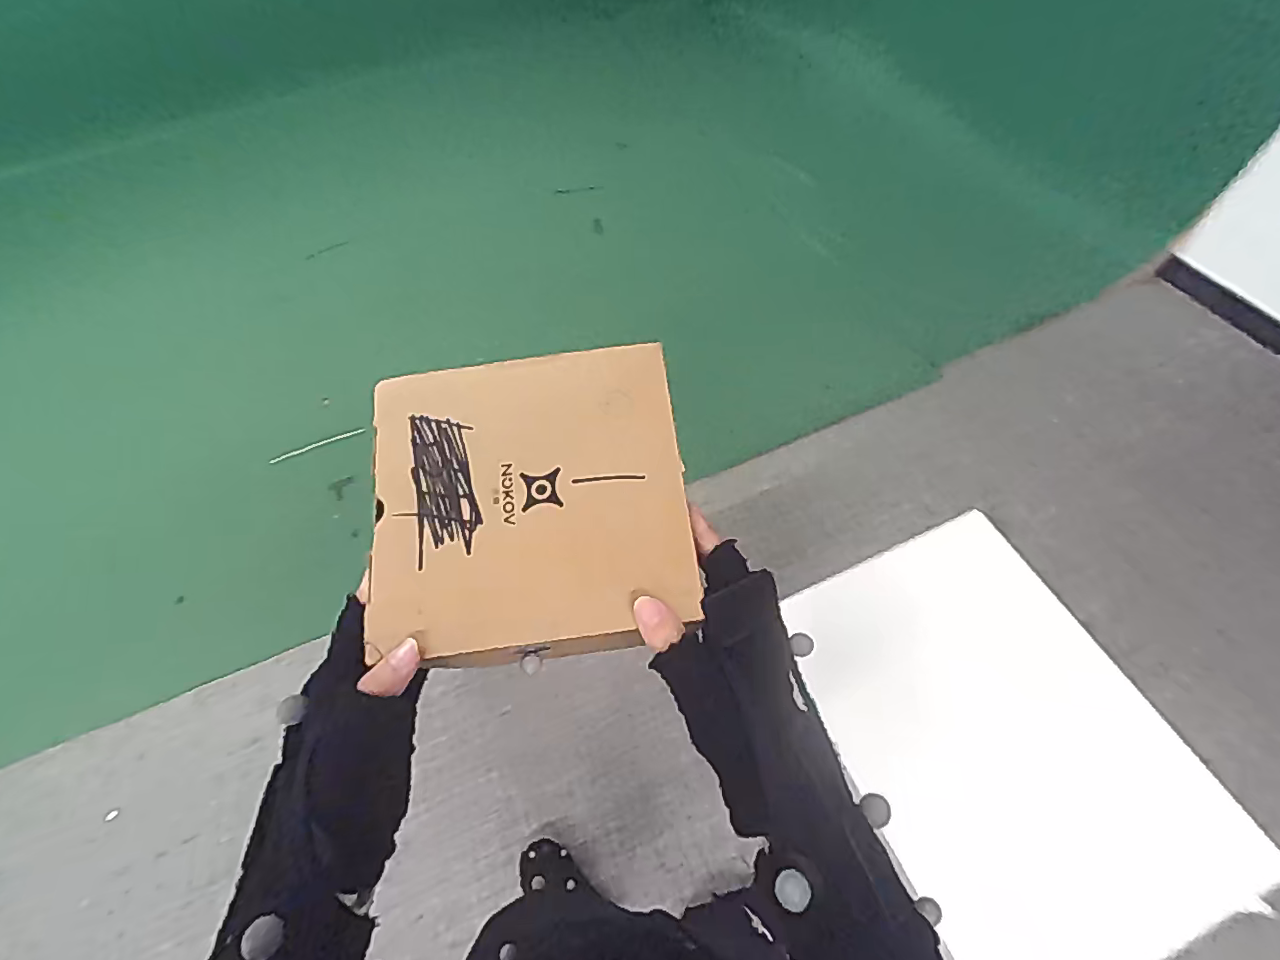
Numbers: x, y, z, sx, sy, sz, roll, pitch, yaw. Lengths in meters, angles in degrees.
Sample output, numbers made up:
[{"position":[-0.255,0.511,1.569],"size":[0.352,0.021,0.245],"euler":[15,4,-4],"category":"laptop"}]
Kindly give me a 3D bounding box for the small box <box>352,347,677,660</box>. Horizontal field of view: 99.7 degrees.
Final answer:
[{"position":[-0.071,0.031,0.384],"size":[0.179,0.176,0.168],"euler":[-8,70,-1],"category":"small box"}]
